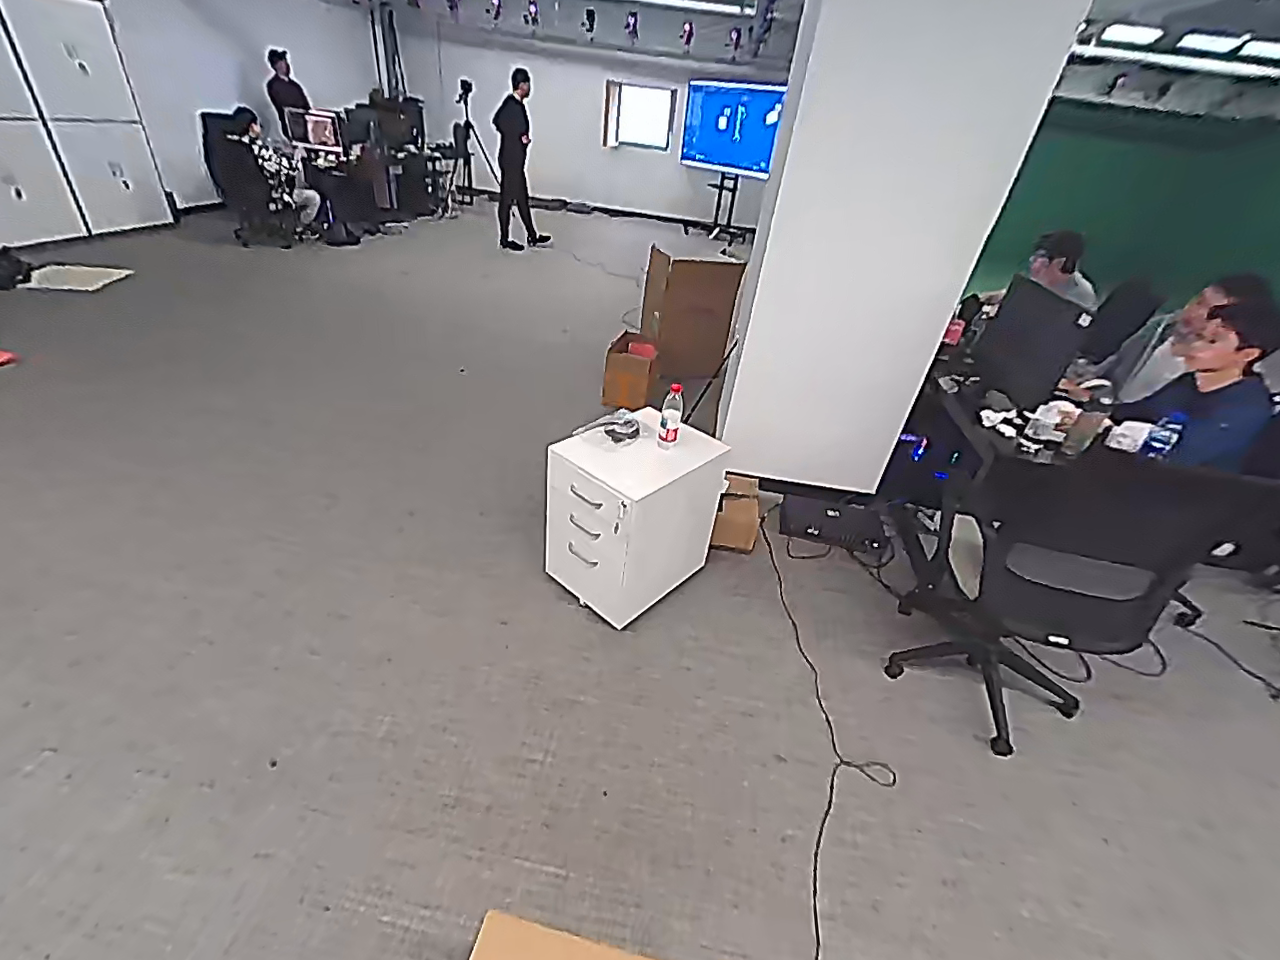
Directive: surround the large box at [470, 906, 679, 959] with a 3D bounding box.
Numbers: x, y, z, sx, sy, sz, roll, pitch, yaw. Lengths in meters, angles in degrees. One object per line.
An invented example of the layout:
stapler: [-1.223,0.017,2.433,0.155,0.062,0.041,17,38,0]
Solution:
large box: [-0.133,1.029,0.936,0.408,0.320,0.320,13,34,6]
